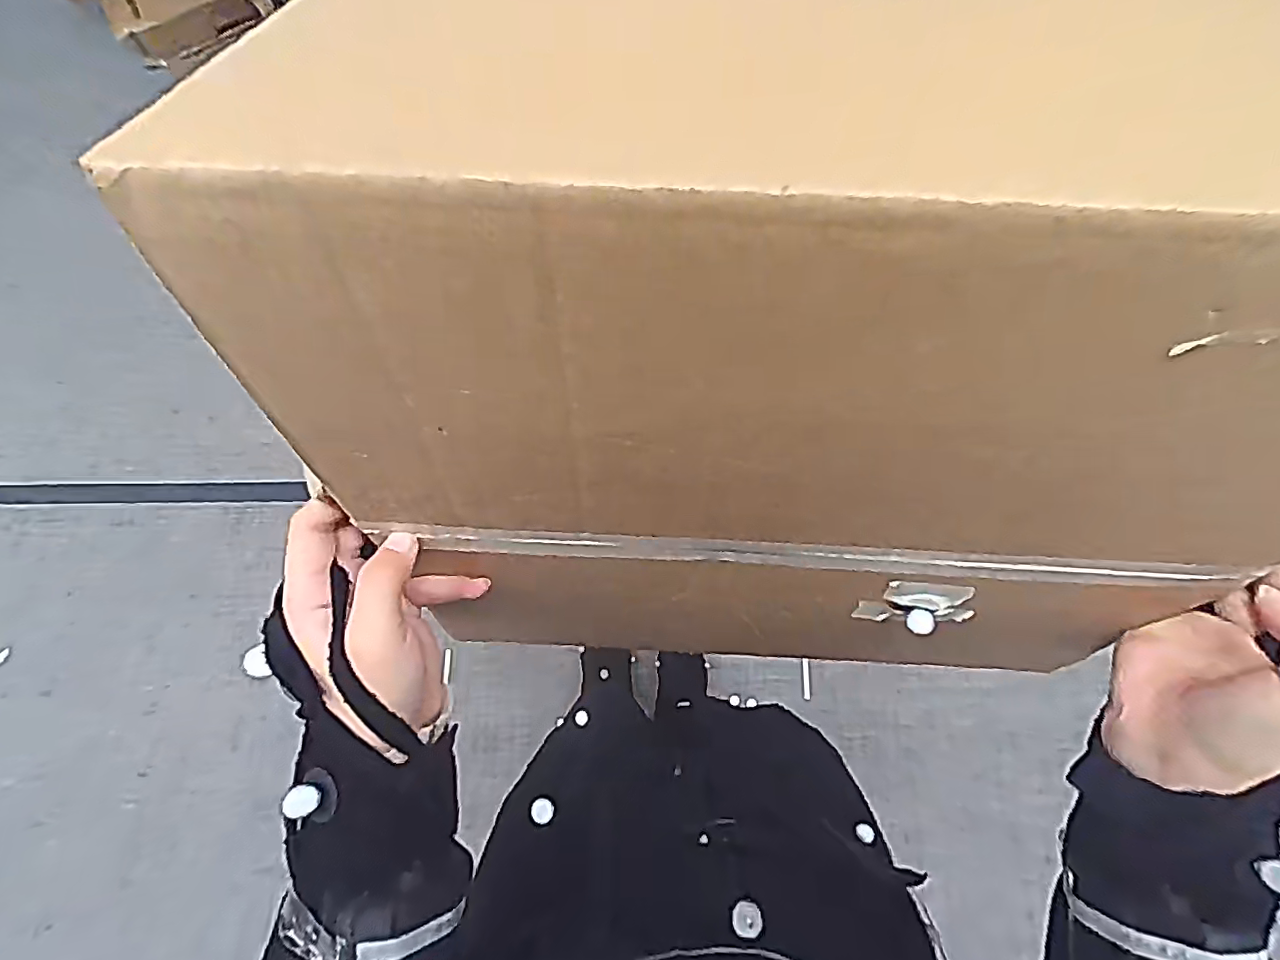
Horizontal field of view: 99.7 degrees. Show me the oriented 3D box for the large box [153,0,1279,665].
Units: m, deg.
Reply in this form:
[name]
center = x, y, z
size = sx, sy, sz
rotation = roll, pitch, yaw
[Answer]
[large box]
center = 0.076, -0.090, 0.337
size = 0.408, 0.320, 0.320
rotation = 2, 56, 1
